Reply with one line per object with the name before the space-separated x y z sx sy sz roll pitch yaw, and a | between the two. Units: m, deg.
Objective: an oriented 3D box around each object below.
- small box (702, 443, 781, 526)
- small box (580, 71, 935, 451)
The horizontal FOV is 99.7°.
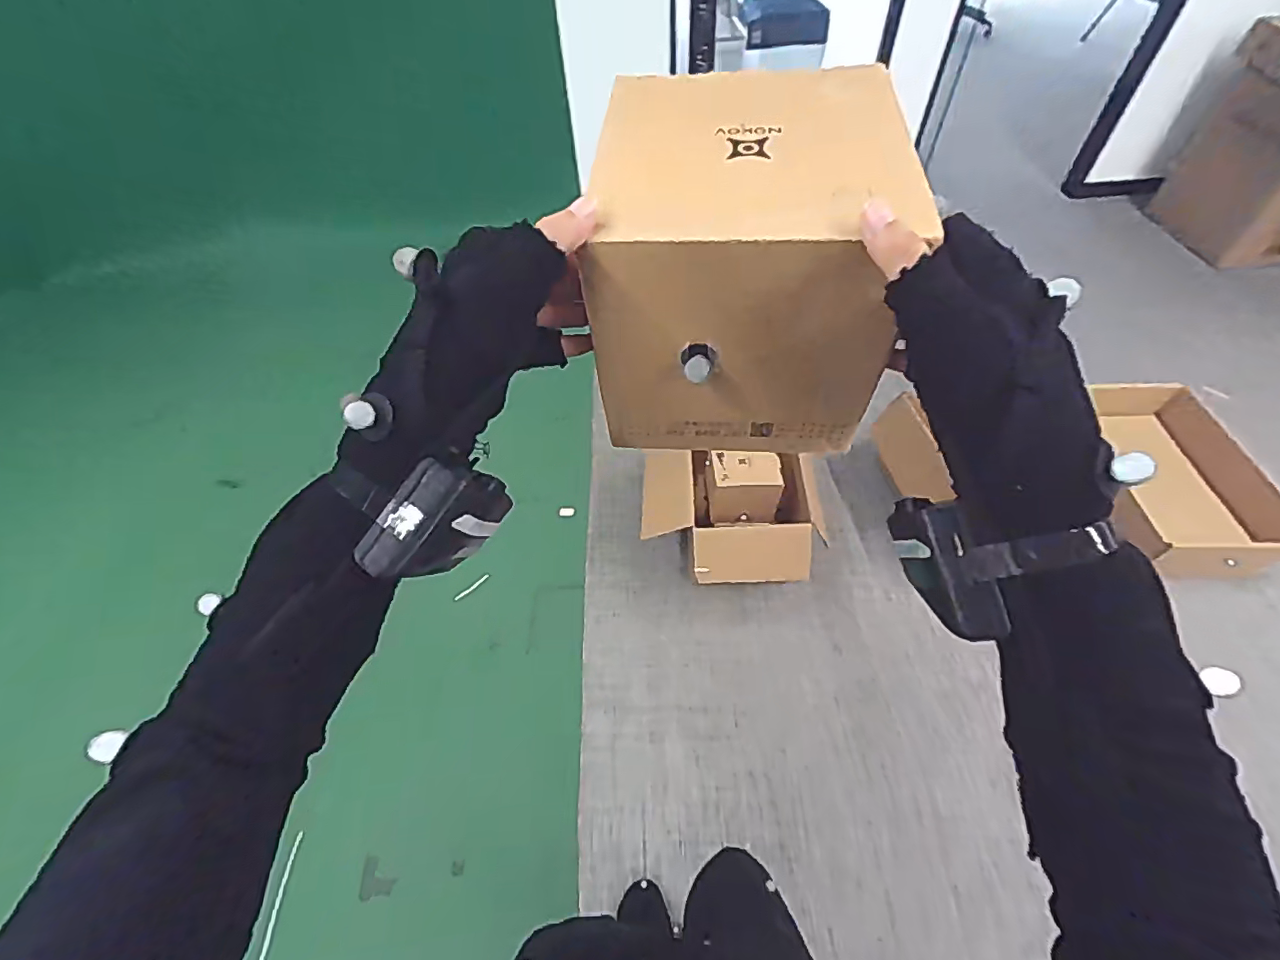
small box | 0.272 0.015 1.488 0.179 0.176 0.168 0 49 -1
small box | 0.066 -0.134 0.359 0.168 0.176 0.179 2 57 6
